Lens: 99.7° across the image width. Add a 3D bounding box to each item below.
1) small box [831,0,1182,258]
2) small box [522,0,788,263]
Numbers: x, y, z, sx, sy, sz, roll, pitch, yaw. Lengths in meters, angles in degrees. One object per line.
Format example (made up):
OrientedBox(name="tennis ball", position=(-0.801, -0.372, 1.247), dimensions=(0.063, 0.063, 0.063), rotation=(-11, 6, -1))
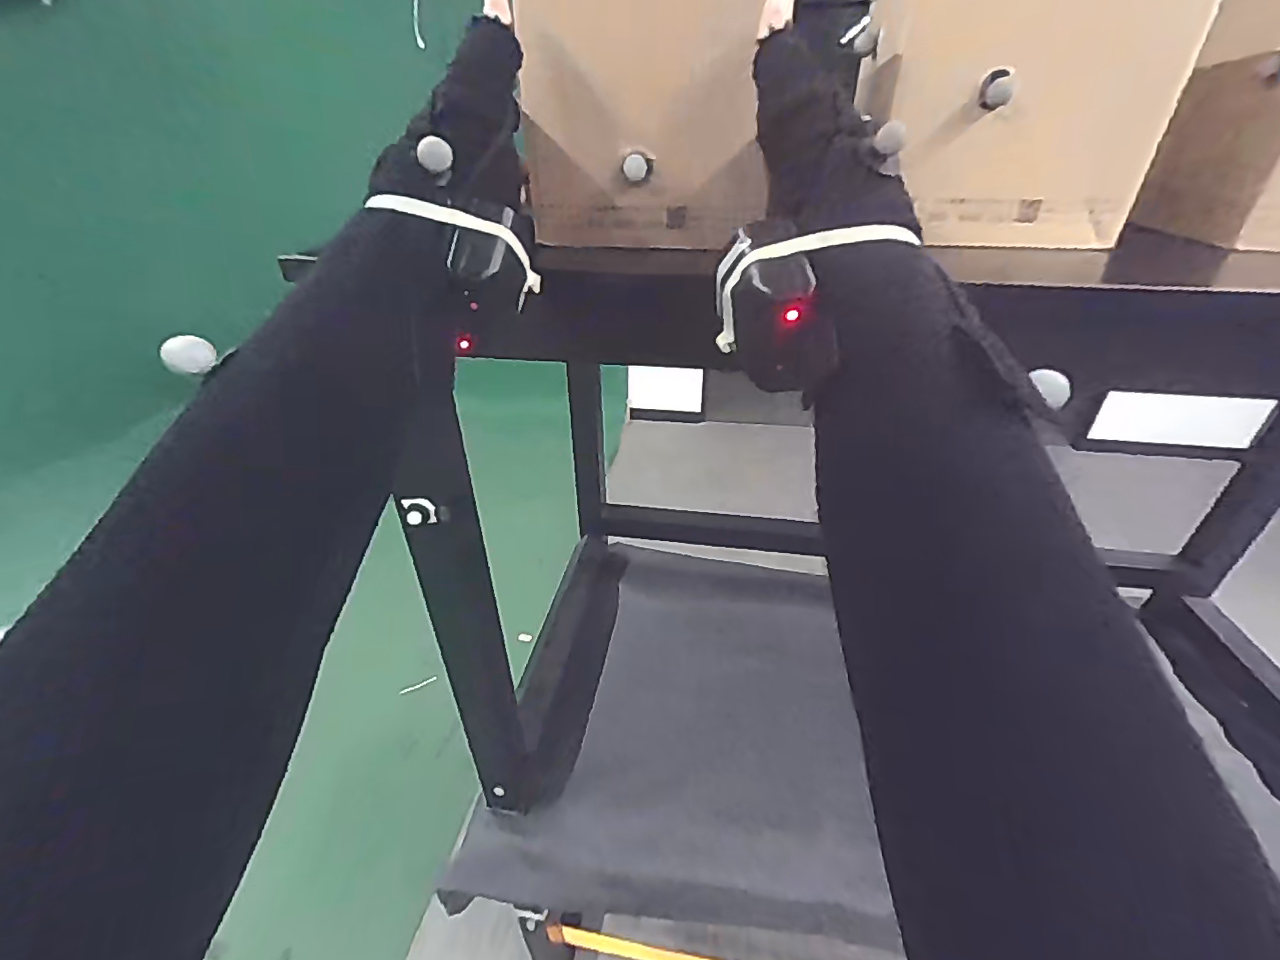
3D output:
OrientedBox(name="small box", position=(0.255, -0.276, 0.422), dimensions=(0.168, 0.176, 0.179), rotation=(5, 32, 9))
OrientedBox(name="small box", position=(0.016, -0.278, 0.422), dimensions=(0.168, 0.176, 0.179), rotation=(4, 33, 7))
